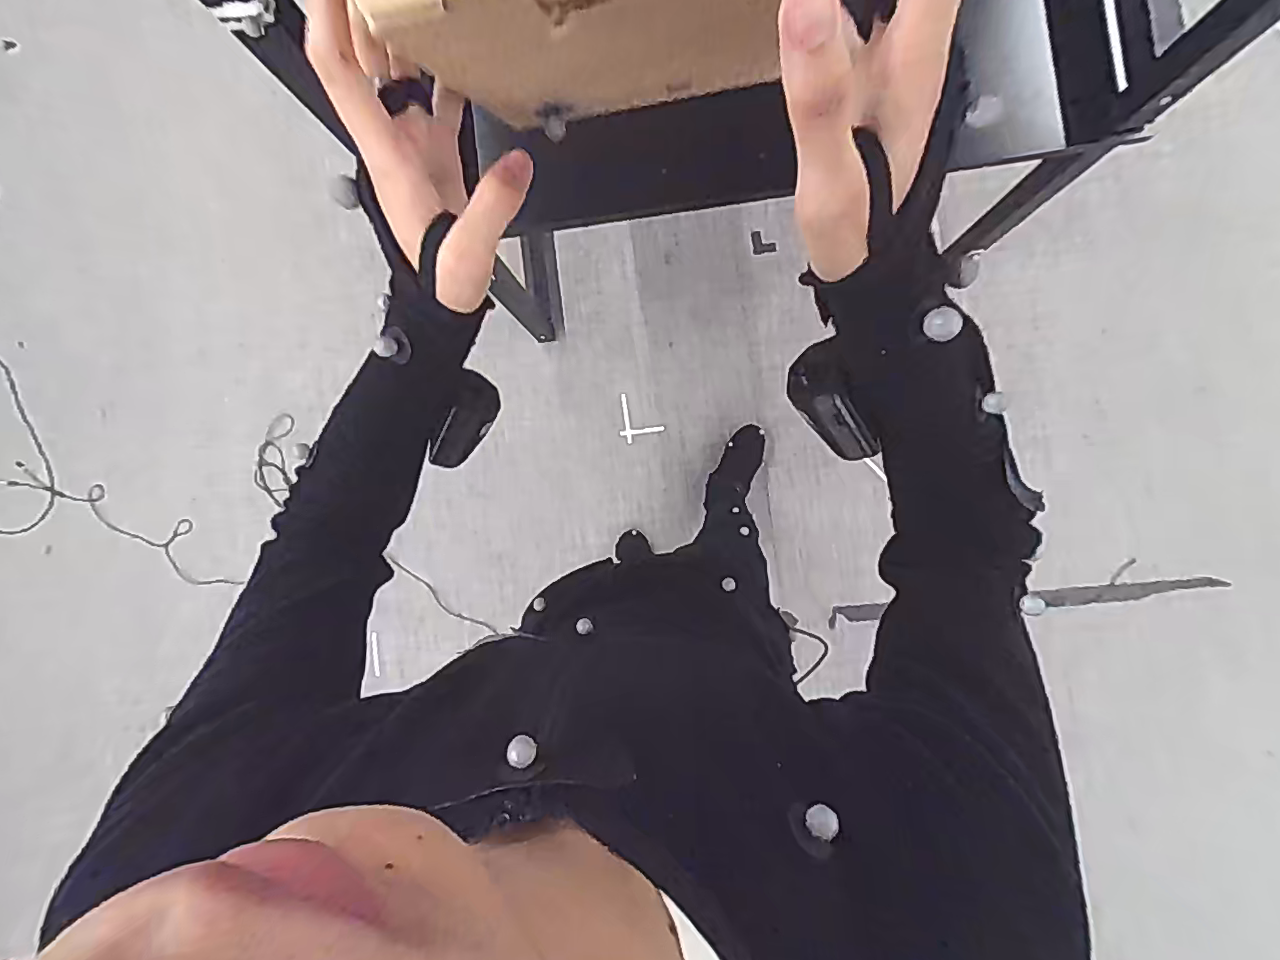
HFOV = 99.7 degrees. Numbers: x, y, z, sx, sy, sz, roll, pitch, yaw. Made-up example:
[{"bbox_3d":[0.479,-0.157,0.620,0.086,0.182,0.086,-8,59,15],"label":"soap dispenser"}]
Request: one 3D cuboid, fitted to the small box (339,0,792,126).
[{"bbox_3d":[-0.023,-0.267,0.220,0.168,0.176,0.179,-5,110,9],"label":"small box"}]
